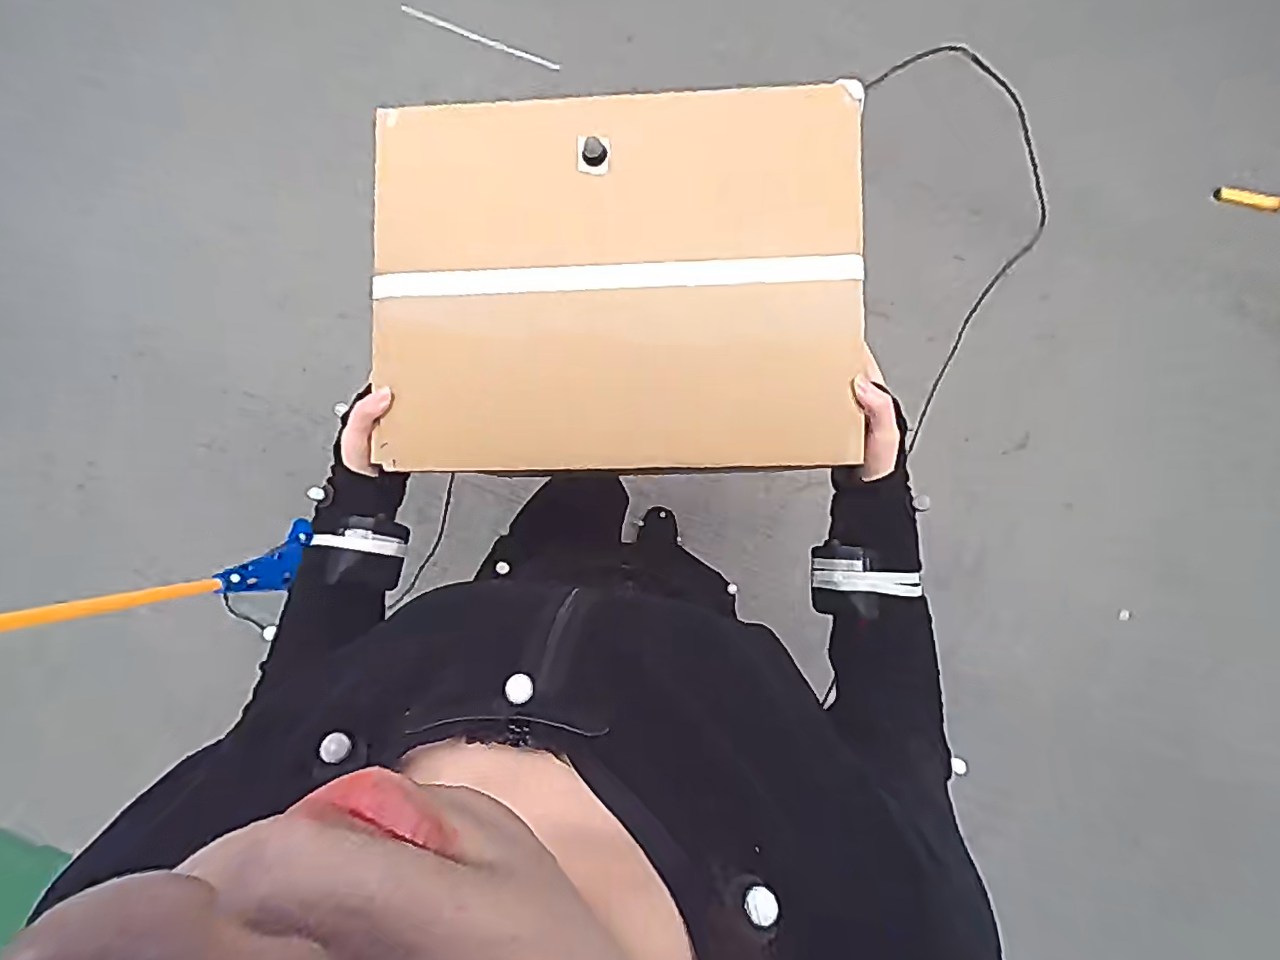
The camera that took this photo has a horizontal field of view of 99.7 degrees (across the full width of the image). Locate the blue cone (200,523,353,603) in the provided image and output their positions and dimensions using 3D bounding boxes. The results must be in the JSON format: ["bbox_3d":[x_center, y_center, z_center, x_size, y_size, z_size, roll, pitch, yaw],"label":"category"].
[{"bbox_3d":[-0.889,0.219,1.298,0.193,0.380,0.192,20,88,1],"label":"blue cone"}]
